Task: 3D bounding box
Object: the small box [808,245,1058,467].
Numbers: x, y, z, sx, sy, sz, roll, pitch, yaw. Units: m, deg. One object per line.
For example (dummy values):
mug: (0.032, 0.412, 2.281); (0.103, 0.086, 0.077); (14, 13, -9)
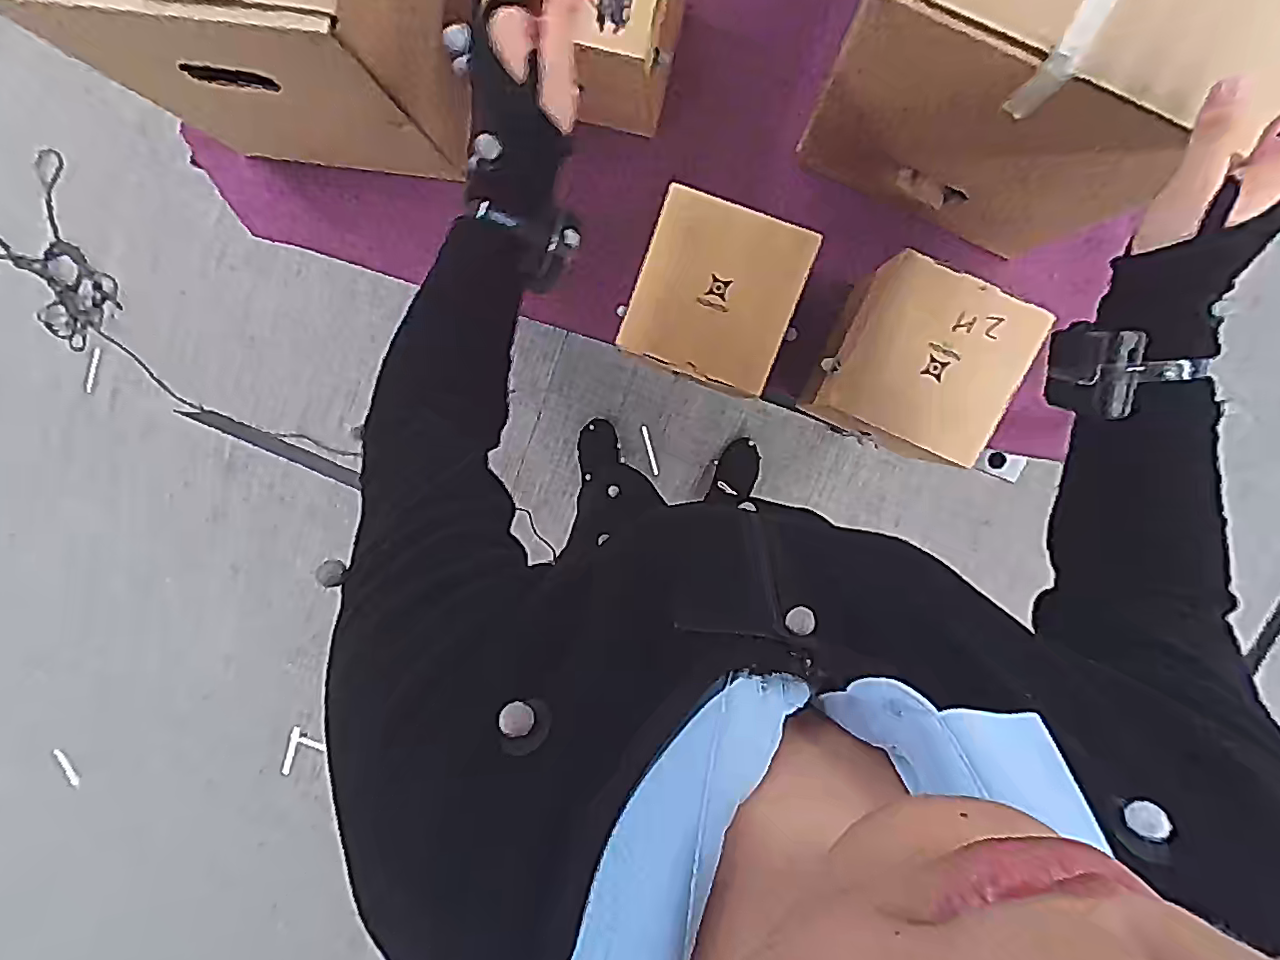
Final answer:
small box: (0.313, -0.132, 0.626); (0.168, 0.176, 0.179); (25, 98, 1)
